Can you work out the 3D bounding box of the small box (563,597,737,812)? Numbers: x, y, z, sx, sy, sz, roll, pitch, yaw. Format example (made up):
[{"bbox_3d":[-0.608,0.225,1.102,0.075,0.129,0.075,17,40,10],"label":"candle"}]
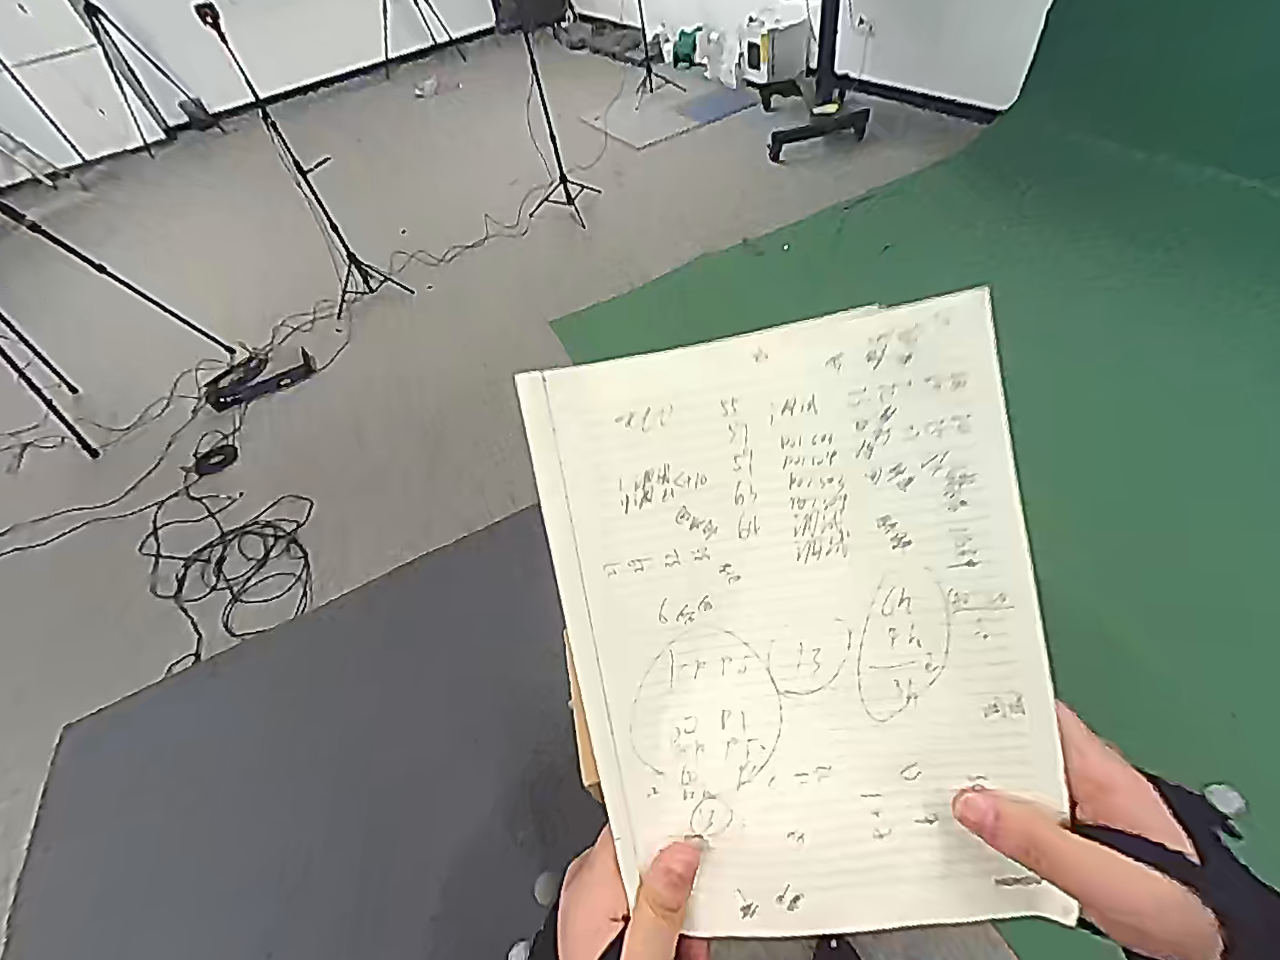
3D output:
[{"bbox_3d":[0.013,0.275,0.660,0.168,0.176,0.179,-16,49,0],"label":"small box"}]
